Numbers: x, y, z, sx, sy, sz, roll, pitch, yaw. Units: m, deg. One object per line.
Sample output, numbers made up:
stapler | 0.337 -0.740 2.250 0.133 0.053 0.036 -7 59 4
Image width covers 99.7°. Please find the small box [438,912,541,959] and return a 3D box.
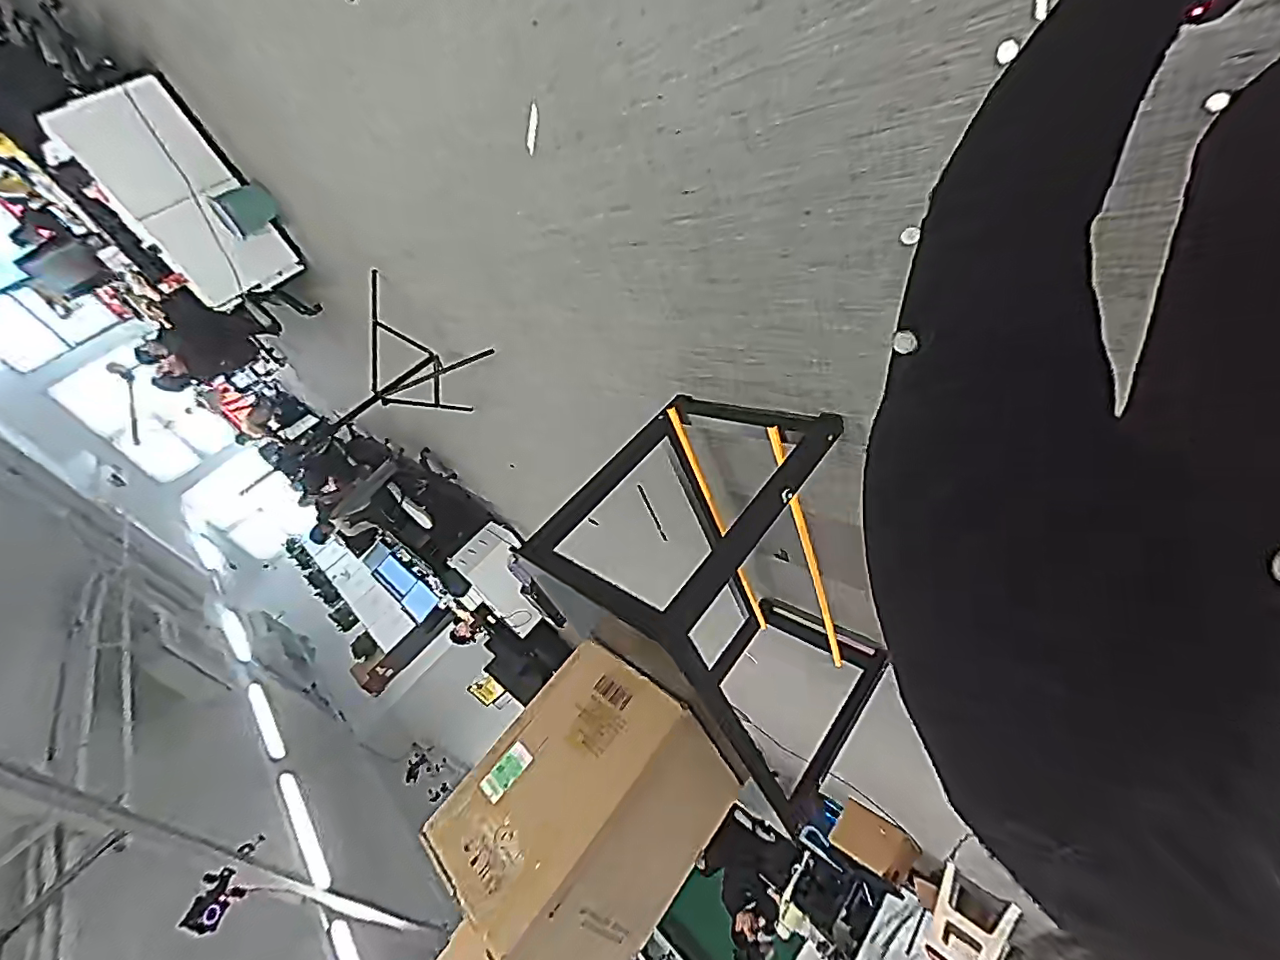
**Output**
small box | -0.335 1.109 1.204 0.179 0.176 0.168 20 149 42

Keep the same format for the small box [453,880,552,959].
small box | -0.361 1.236 1.458 0.179 0.176 0.168 19 146 45
